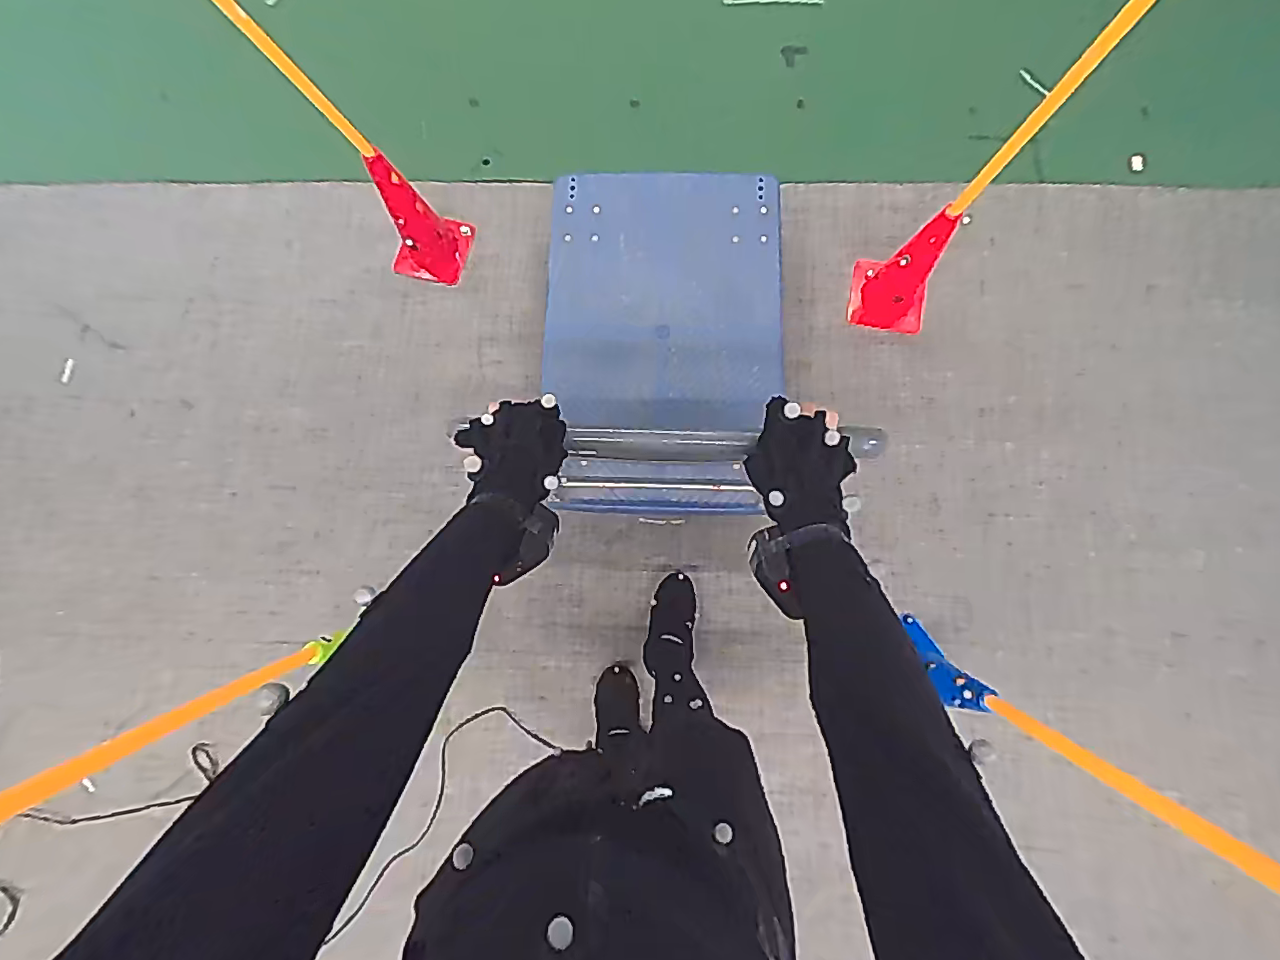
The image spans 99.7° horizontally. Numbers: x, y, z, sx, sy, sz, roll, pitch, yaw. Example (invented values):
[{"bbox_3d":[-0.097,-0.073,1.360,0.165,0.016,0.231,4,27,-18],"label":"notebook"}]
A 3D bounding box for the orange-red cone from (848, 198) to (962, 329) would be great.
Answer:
[{"bbox_3d":[0.676,-0.550,1.320,0.198,0.360,0.199,12,81,5],"label":"orange-red cone"}]
